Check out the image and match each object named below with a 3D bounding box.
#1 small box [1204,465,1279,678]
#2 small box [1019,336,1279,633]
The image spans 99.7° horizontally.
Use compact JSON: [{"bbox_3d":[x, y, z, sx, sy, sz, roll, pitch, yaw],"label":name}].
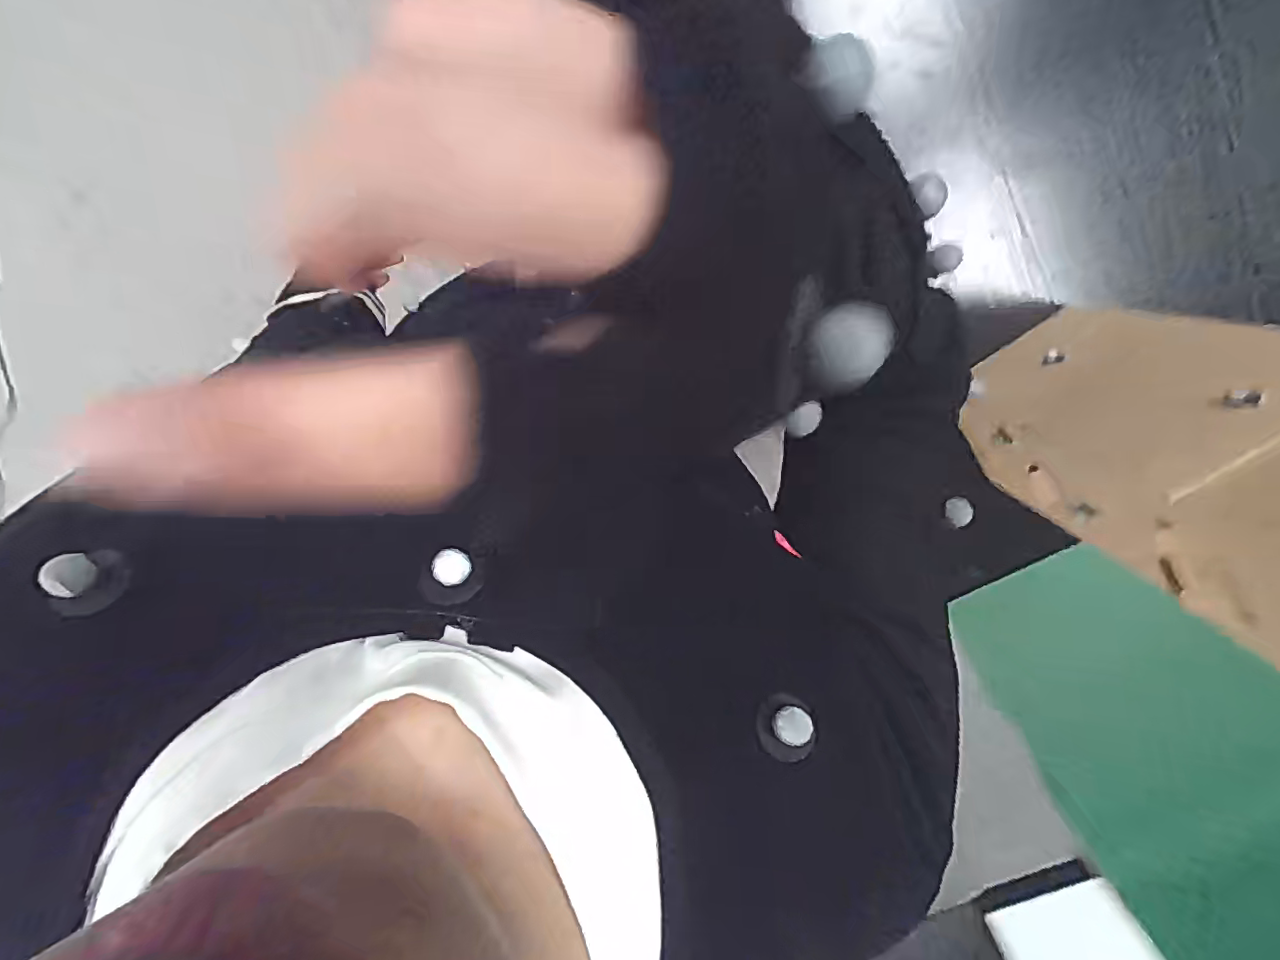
[{"bbox_3d":[0.506,0.068,0.323,0.179,0.176,0.168,-37,109,13],"label":"small box"},{"bbox_3d":[0.501,-0.008,0.486,0.179,0.176,0.168,-37,108,14],"label":"small box"}]
